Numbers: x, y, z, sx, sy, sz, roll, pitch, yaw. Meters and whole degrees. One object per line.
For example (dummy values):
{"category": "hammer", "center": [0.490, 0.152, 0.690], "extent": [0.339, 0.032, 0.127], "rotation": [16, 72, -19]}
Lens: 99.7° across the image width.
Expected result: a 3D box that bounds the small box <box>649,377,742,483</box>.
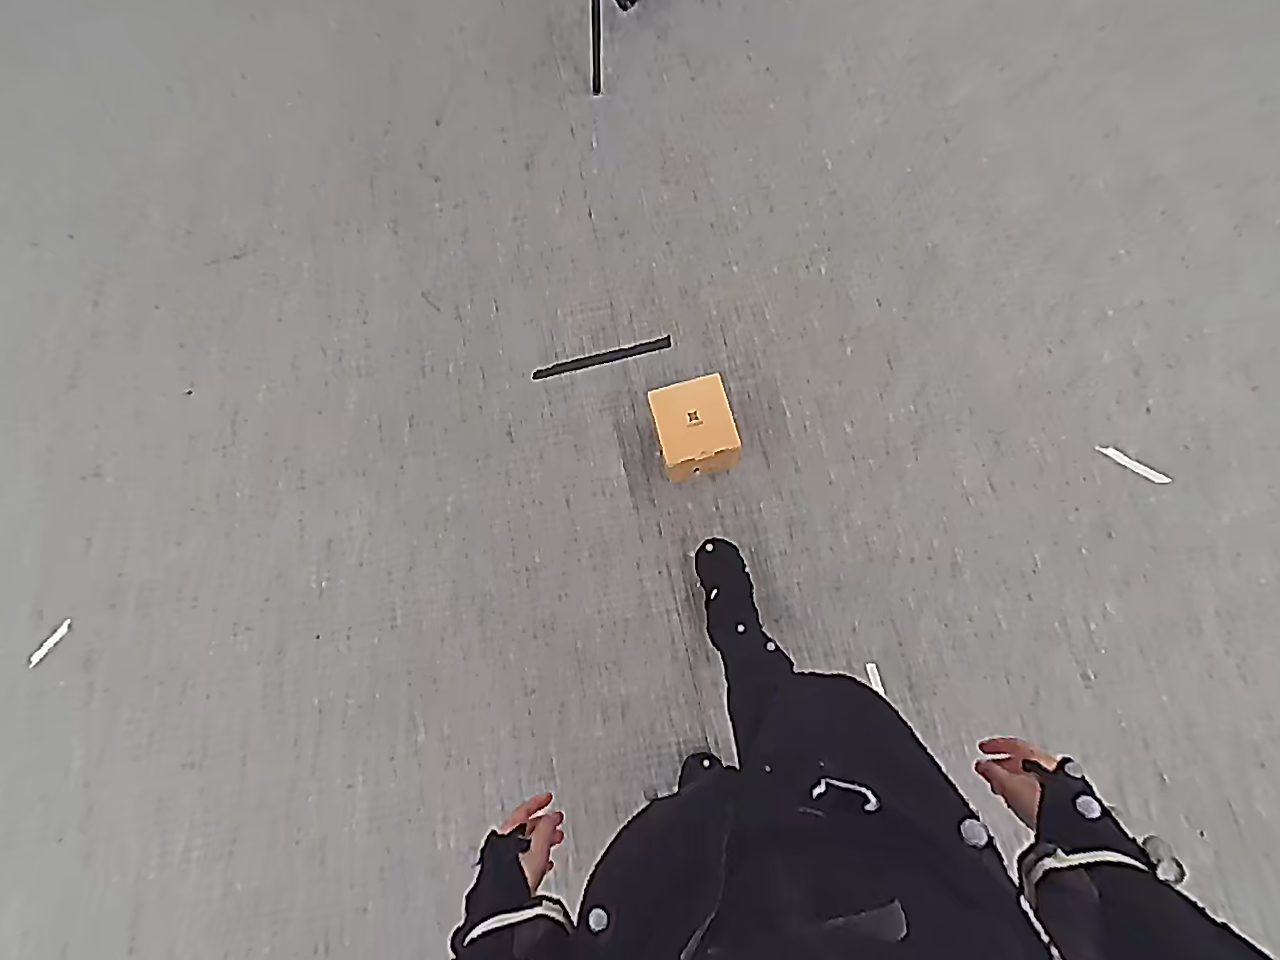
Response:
{"category": "small box", "center": [0.121, -0.107, 1.237], "extent": [0.168, 0.176, 0.179], "rotation": [-15, 78, 1]}
